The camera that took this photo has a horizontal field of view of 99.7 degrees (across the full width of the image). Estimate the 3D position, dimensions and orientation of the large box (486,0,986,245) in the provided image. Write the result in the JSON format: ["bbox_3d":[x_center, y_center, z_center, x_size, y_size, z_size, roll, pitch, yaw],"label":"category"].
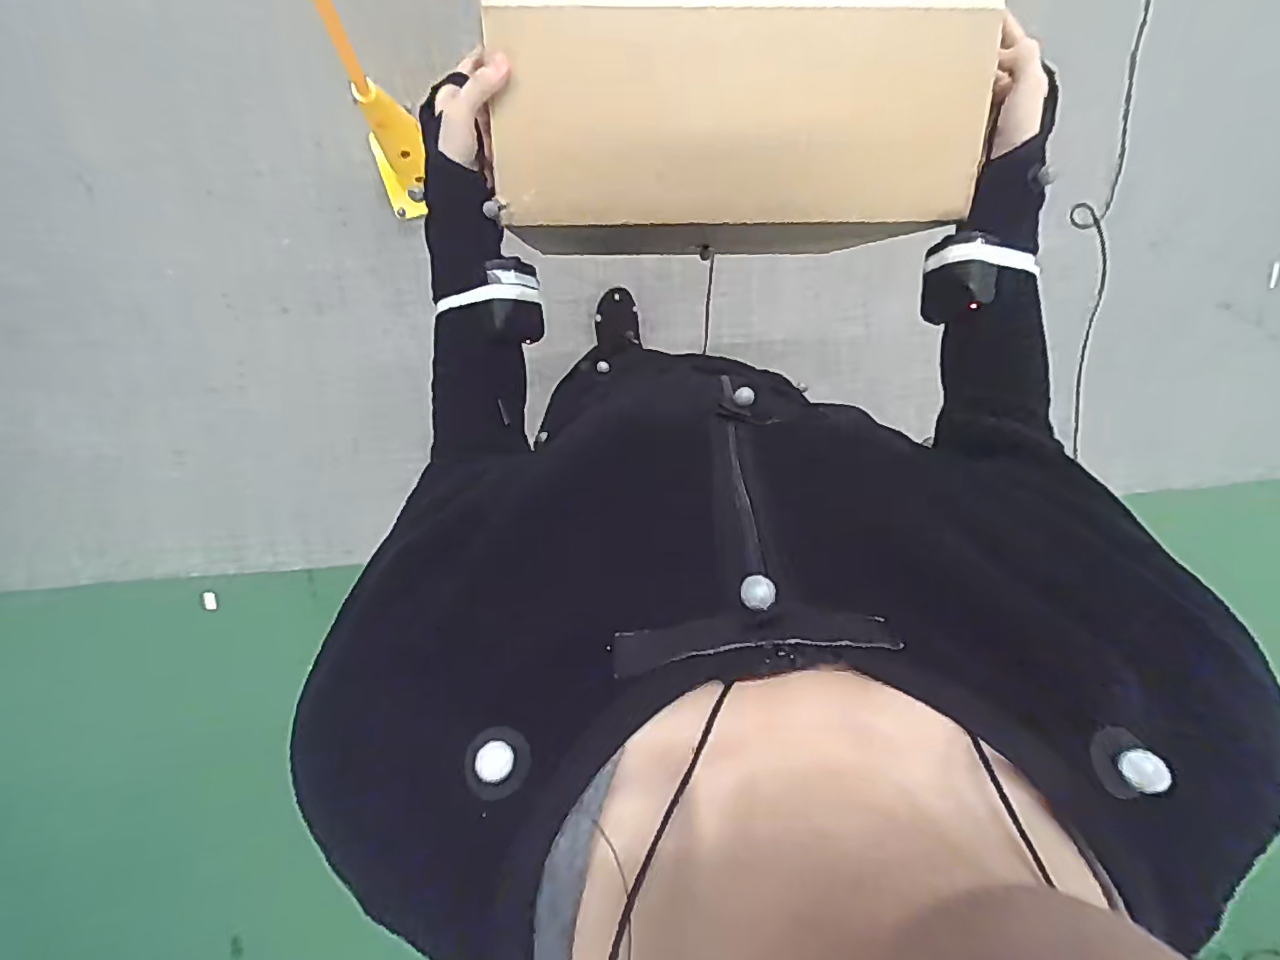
[{"bbox_3d":[0.074,-0.426,0.563,0.408,0.320,0.320,-2,108,-2],"label":"large box"}]
